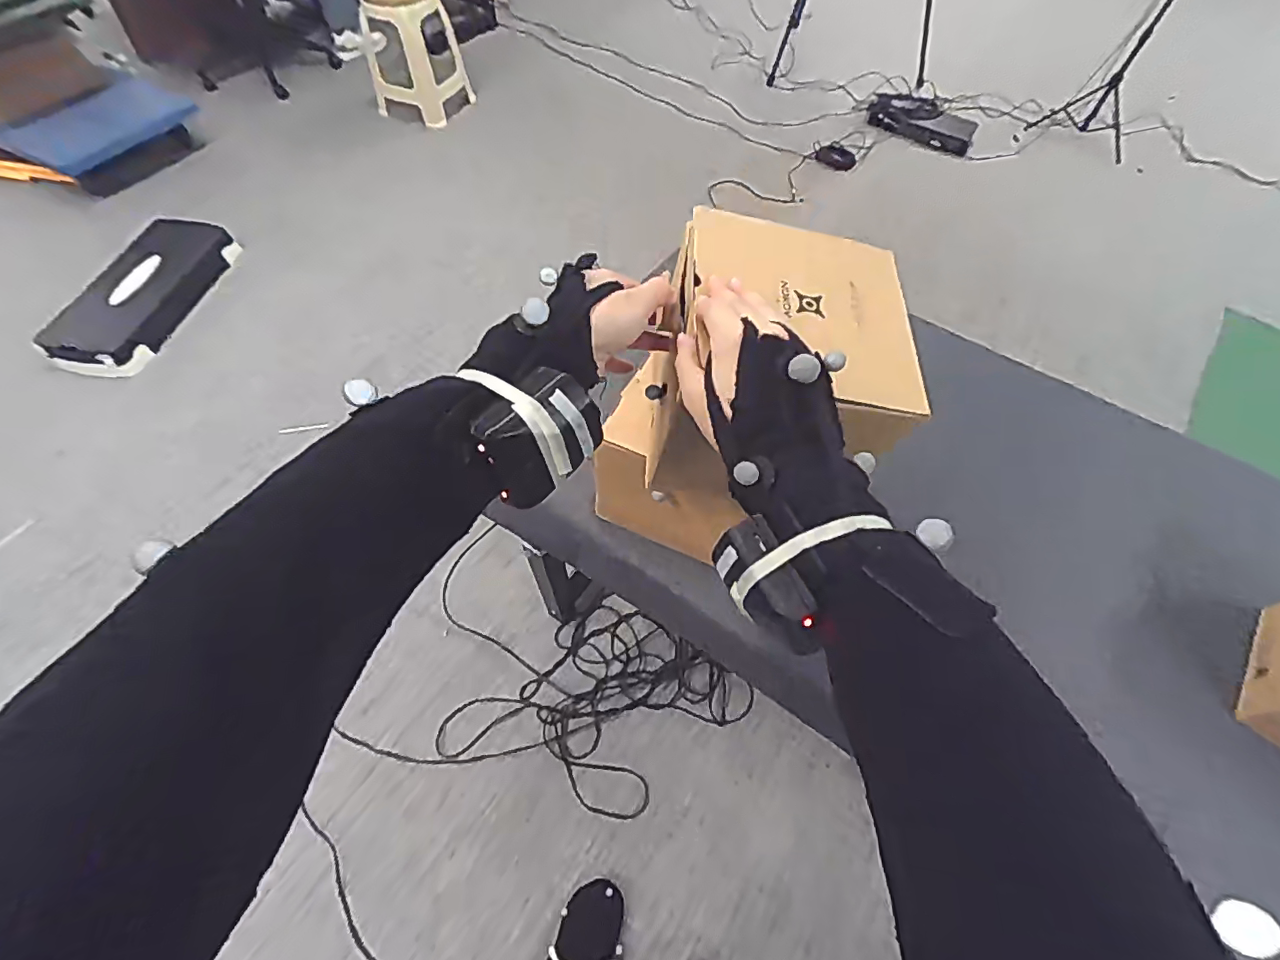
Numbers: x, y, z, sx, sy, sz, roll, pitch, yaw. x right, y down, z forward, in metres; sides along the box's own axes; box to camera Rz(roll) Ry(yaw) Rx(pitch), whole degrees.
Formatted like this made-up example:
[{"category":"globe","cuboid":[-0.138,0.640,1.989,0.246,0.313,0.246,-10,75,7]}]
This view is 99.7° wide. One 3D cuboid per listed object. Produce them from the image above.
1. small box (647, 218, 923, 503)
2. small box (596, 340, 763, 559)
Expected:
[{"category":"small box","cuboid":[0.104,-0.091,0.471,0.179,0.176,0.168,7,63,-6]},{"category":"small box","cuboid":[0.064,-0.029,0.628,0.179,0.176,0.168,23,60,11]}]
